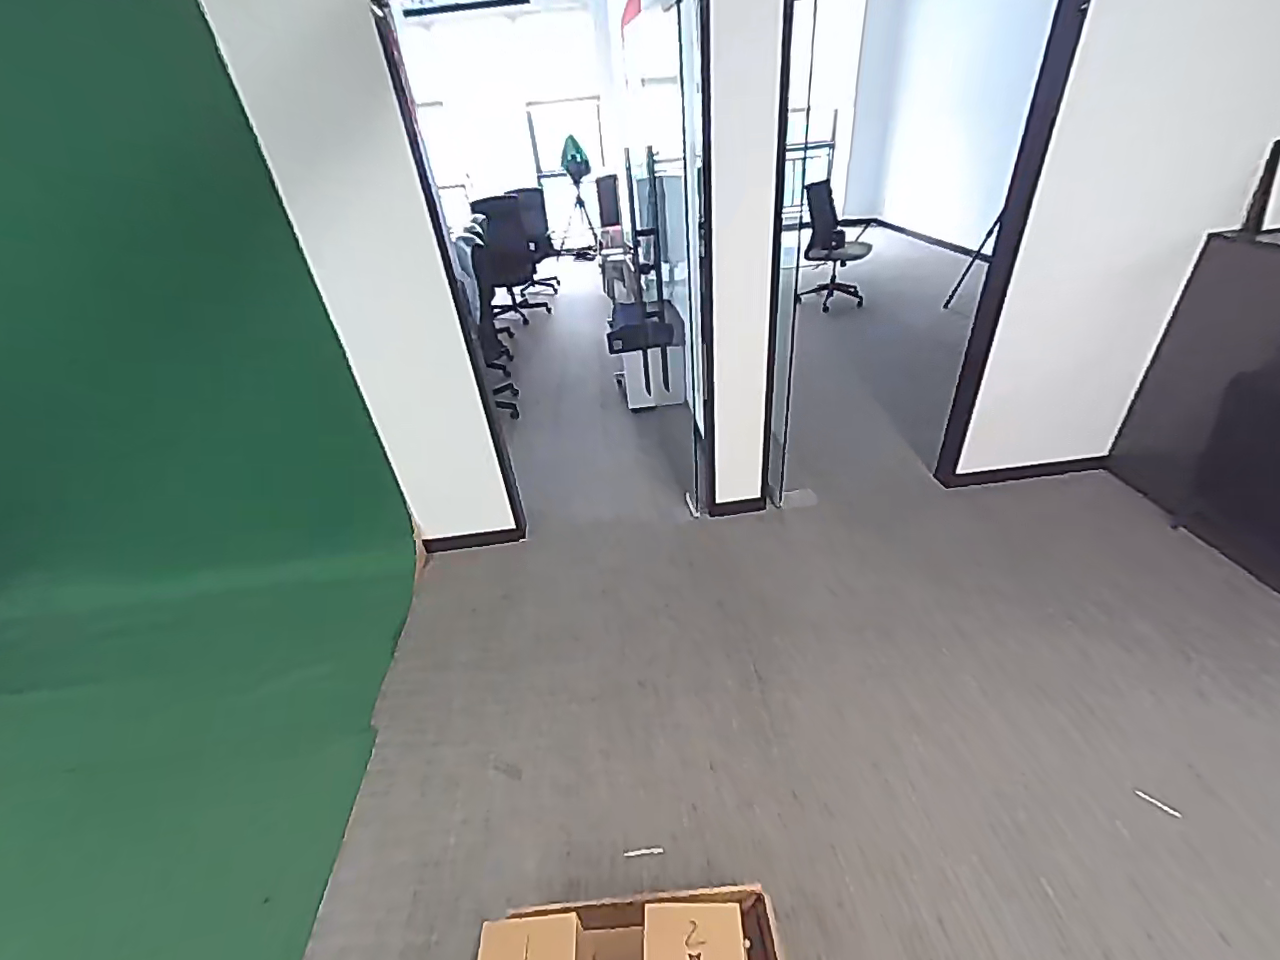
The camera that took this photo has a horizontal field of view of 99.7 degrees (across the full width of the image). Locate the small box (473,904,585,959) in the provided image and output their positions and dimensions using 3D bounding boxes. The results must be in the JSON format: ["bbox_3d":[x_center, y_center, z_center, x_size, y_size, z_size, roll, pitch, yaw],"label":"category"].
[{"bbox_3d":[-0.186,0.859,0.915,0.168,0.176,0.179,-5,34,0],"label":"small box"}]

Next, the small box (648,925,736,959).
[{"bbox_3d":[0.101,0.971,1.009,0.168,0.176,0.179,-5,36,1],"label":"small box"}]

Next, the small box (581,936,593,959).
[{"bbox_3d":[-0.175,0.993,1.011,0.168,0.176,0.179,-3,35,1],"label":"small box"}]
